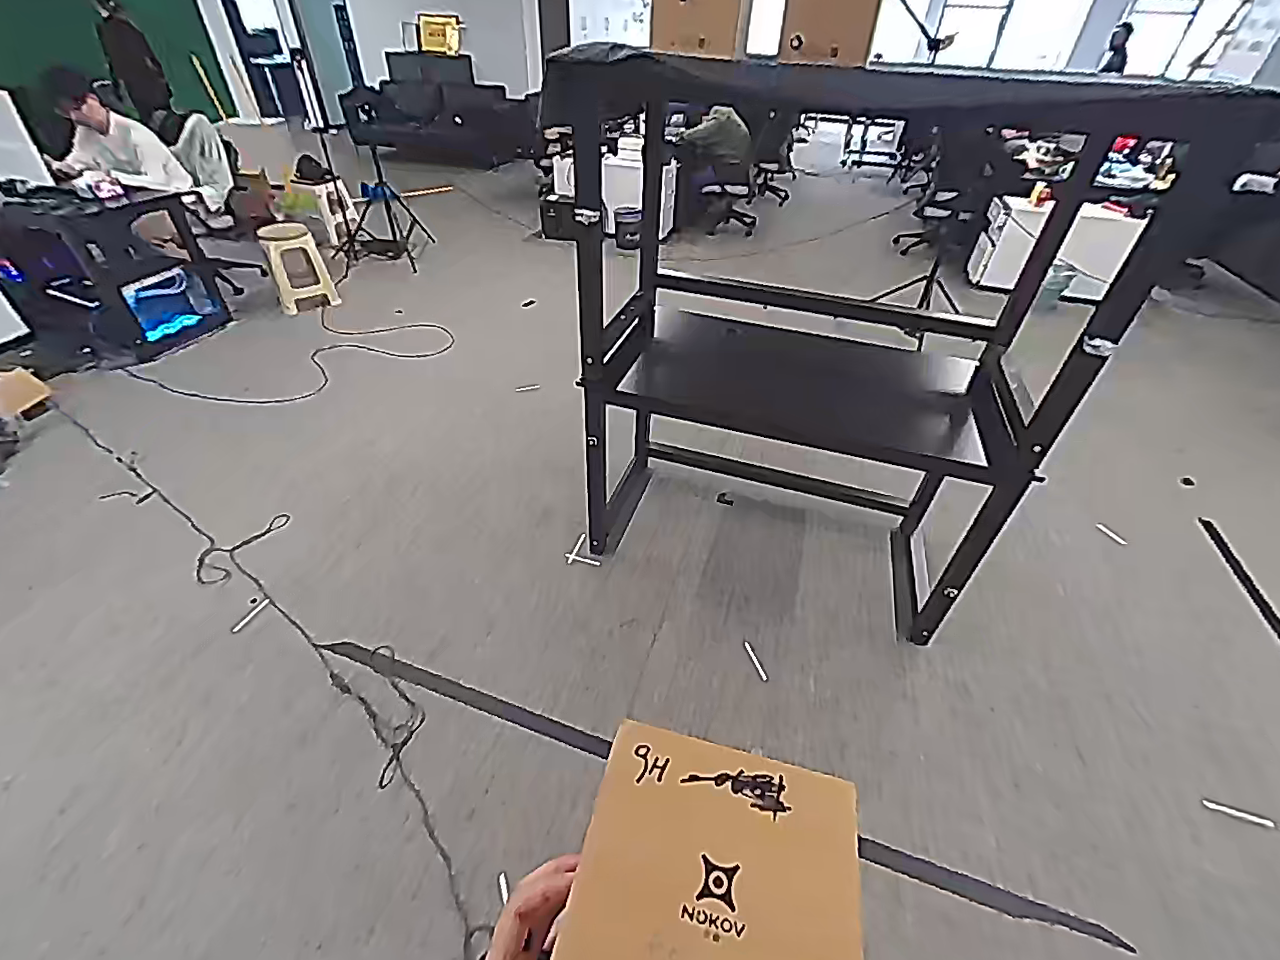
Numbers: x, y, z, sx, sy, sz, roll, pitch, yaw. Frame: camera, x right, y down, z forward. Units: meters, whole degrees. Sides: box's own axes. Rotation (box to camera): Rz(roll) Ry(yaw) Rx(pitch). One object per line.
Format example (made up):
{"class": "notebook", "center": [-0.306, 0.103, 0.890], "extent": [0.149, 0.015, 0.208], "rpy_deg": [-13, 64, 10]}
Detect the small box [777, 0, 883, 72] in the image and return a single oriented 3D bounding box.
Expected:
{"class": "small box", "center": [0.361, -0.872, 1.013], "extent": [0.168, 0.176, 0.179], "rpy_deg": [14, 38, 14]}

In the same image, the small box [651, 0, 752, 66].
{"class": "small box", "center": [0.123, -0.911, 1.048], "extent": [0.168, 0.176, 0.179], "rpy_deg": [14, 39, 11]}

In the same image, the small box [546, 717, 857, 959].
{"class": "small box", "center": [0.040, 0.300, 0.368], "extent": [0.168, 0.176, 0.179], "rpy_deg": [12, 45, 10]}
